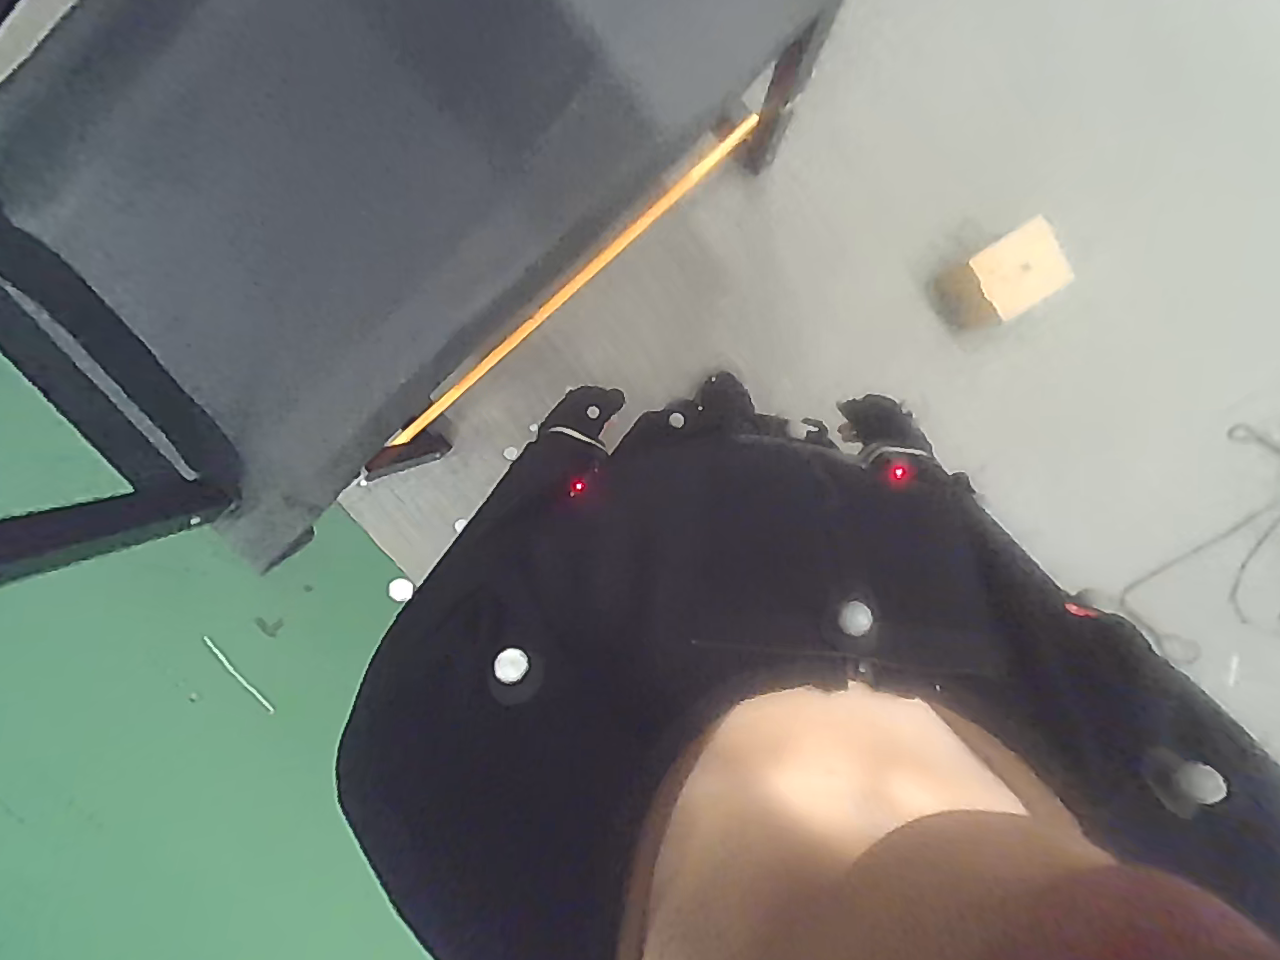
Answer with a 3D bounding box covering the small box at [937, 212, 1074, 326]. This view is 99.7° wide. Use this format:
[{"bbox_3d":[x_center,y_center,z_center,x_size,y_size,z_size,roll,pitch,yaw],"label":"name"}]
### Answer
[{"bbox_3d":[0.845,-0.484,1.268,0.179,0.176,0.168,-33,96,10],"label":"small box"}]
